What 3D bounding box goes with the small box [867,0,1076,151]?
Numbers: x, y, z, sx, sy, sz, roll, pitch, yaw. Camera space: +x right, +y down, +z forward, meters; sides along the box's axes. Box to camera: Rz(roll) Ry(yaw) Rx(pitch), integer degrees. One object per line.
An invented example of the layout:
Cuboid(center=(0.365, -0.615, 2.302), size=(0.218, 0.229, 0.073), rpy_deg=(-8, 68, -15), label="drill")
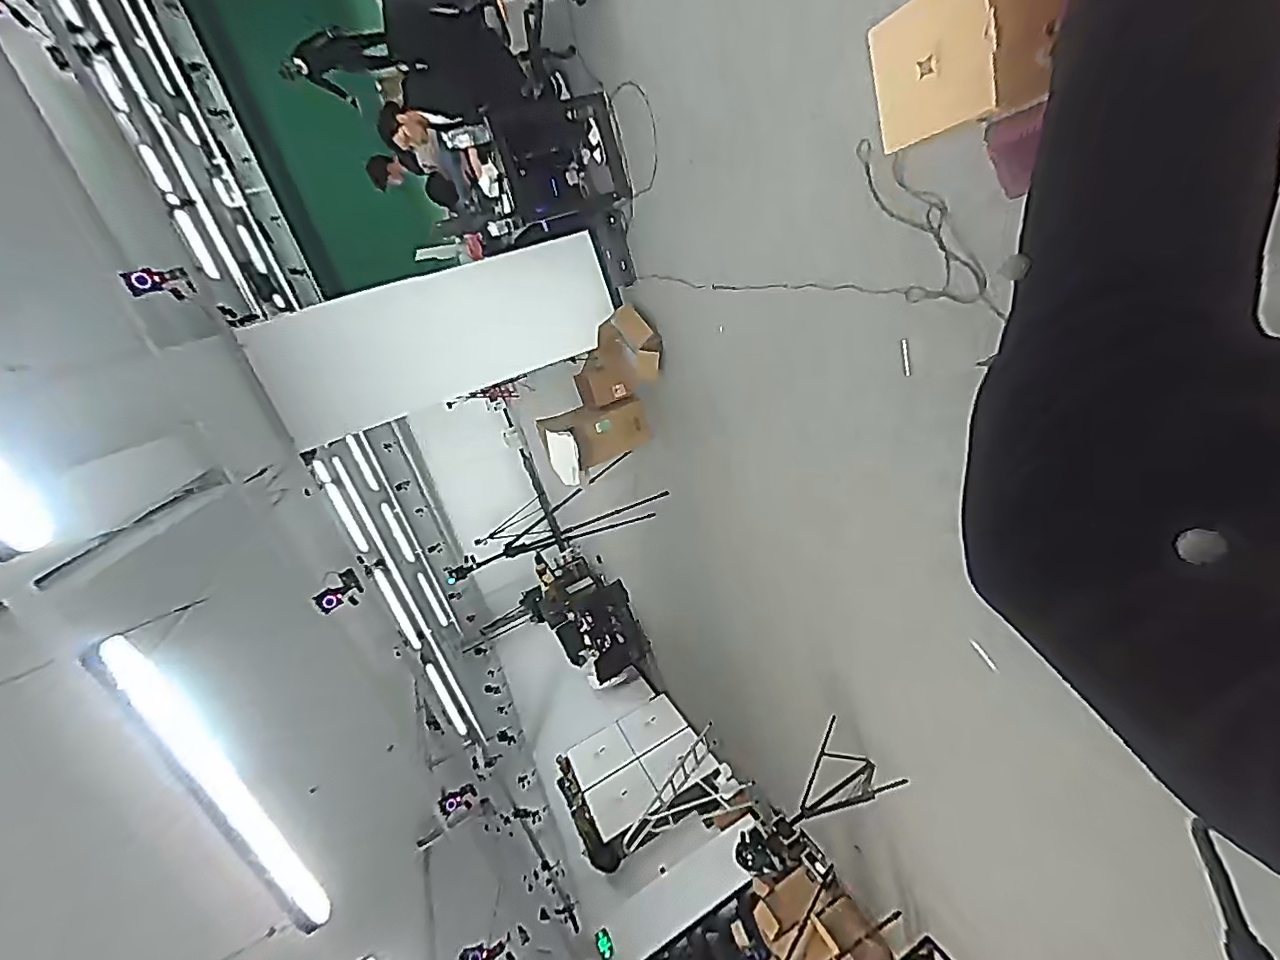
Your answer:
Cuboid(center=(0.448, -0.581, 0.739), size=(0.179, 0.176, 0.168), rpy_deg=(24, 135, 63), label="small box")
